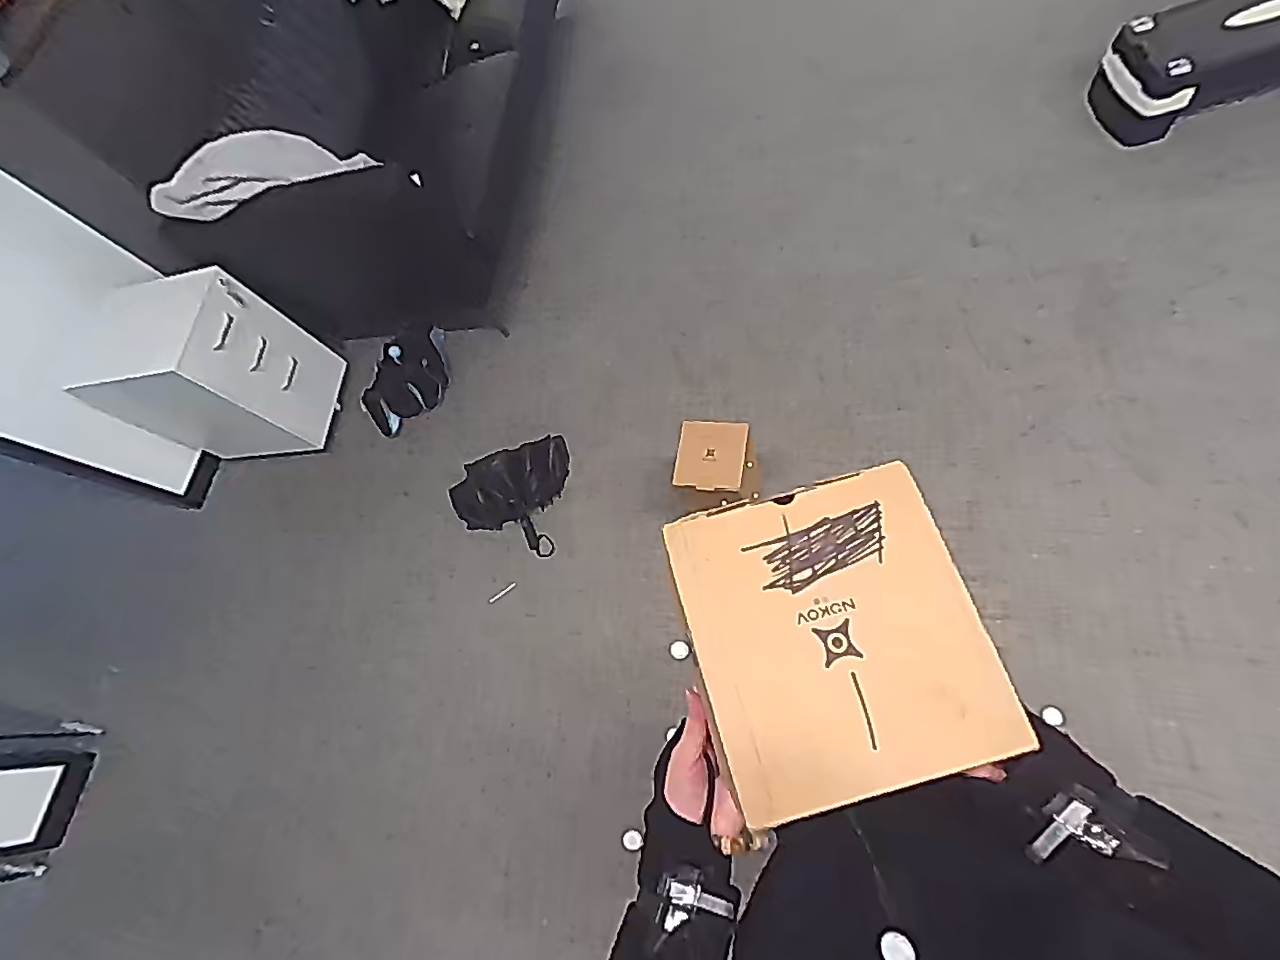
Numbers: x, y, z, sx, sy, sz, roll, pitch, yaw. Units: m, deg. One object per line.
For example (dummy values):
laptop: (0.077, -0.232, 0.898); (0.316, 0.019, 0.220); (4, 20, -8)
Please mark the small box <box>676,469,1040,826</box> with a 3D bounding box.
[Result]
small box: (0.124, 0.116, 0.396); (0.168, 0.176, 0.179); (-15, 70, -1)
